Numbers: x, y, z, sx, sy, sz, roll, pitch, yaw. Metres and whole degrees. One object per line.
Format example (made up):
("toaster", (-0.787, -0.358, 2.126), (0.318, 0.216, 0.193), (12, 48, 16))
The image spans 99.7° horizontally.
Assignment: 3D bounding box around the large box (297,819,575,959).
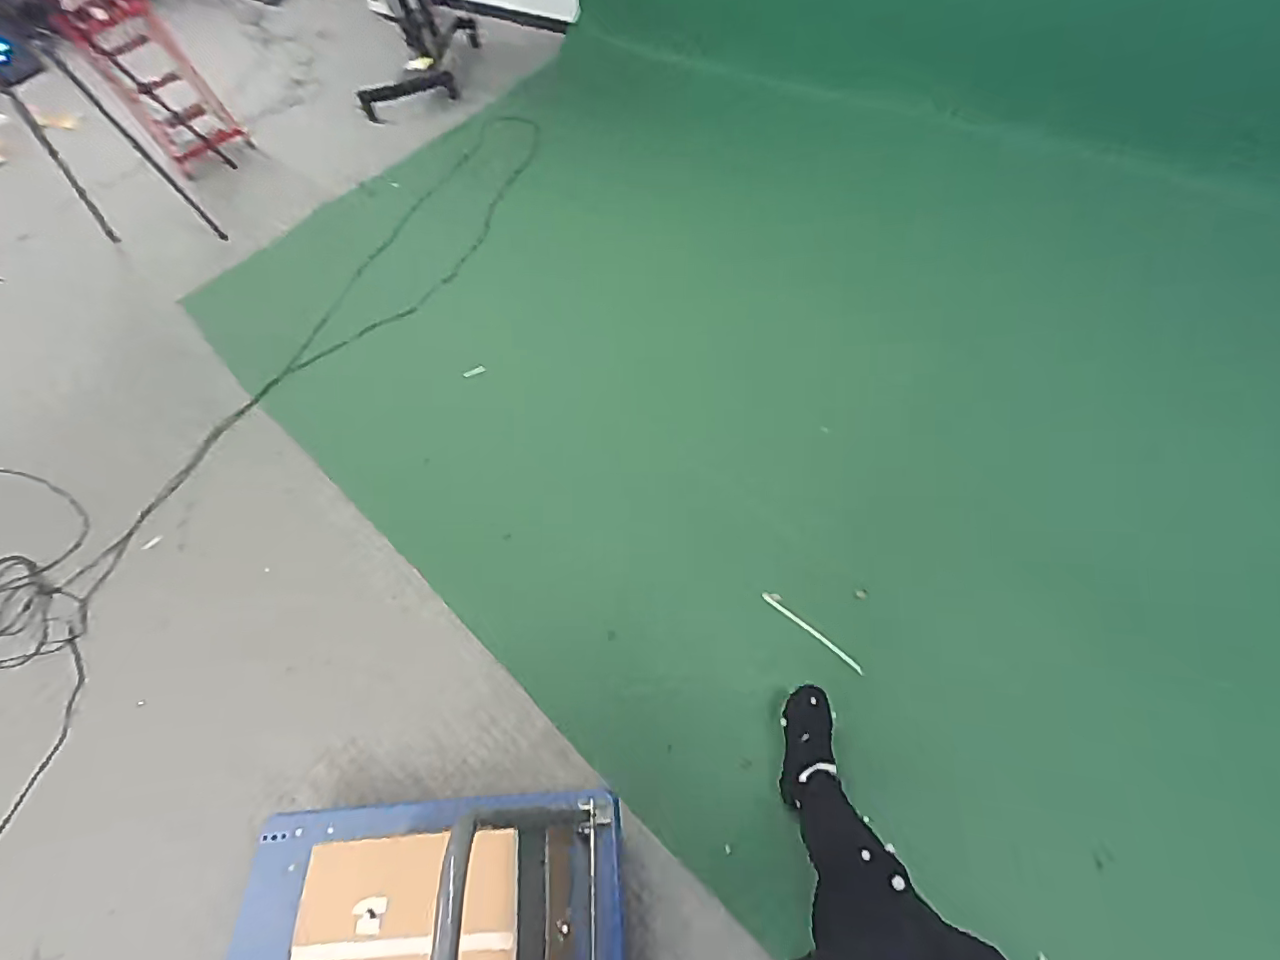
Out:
("large box", (-0.354, 0.842, 1.016), (0.408, 0.320, 0.320), (-8, 58, 6))
